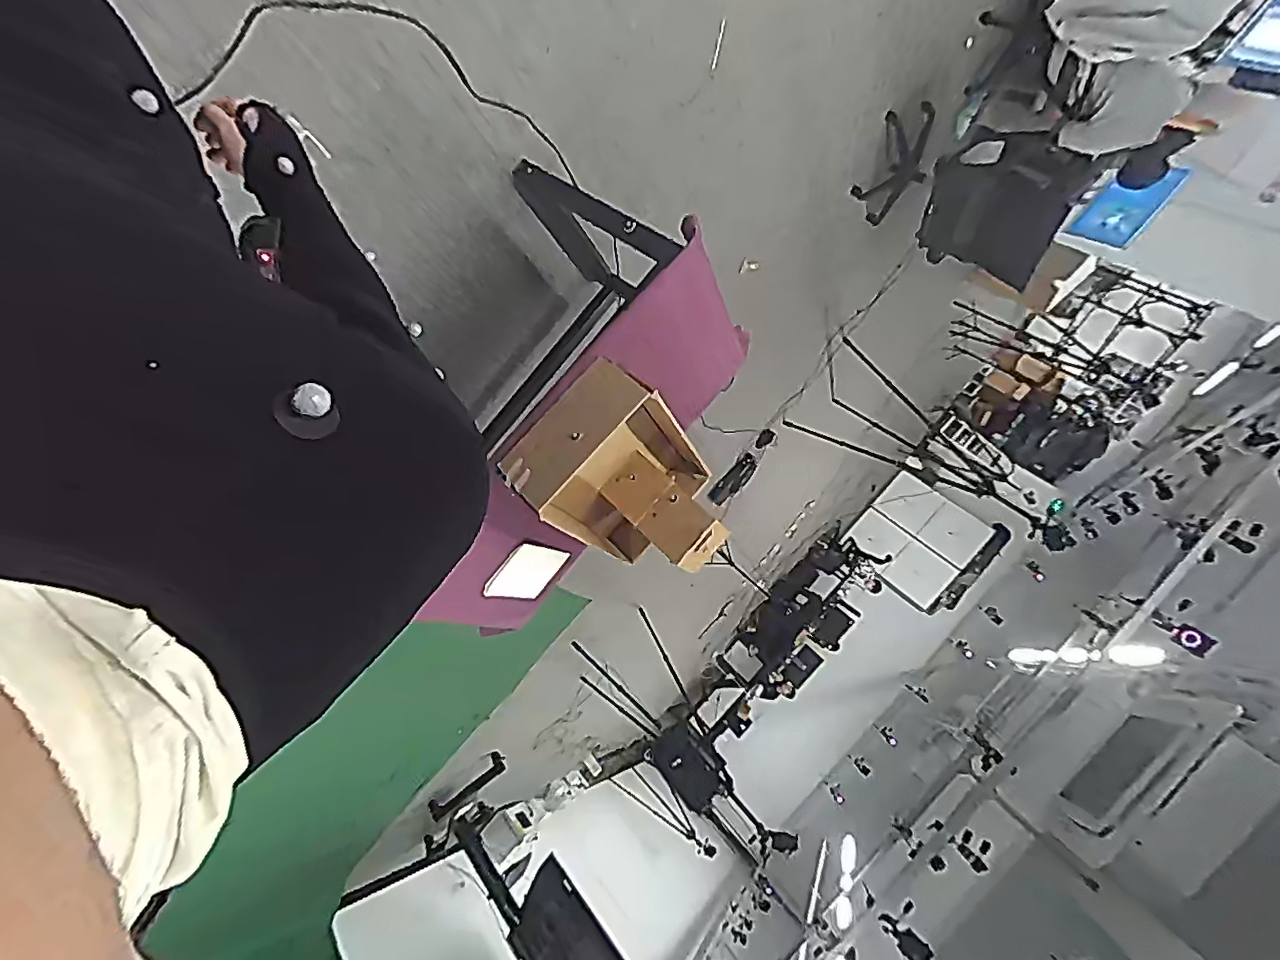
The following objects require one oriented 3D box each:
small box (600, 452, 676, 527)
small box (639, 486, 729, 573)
[{"bbox_3d":[0.015,0.041,1.626,0.168,0.176,0.179,-49,151,2],"label":"small box"},{"bbox_3d":[0.124,0.140,1.554,0.168,0.176,0.179,-49,152,3],"label":"small box"}]
